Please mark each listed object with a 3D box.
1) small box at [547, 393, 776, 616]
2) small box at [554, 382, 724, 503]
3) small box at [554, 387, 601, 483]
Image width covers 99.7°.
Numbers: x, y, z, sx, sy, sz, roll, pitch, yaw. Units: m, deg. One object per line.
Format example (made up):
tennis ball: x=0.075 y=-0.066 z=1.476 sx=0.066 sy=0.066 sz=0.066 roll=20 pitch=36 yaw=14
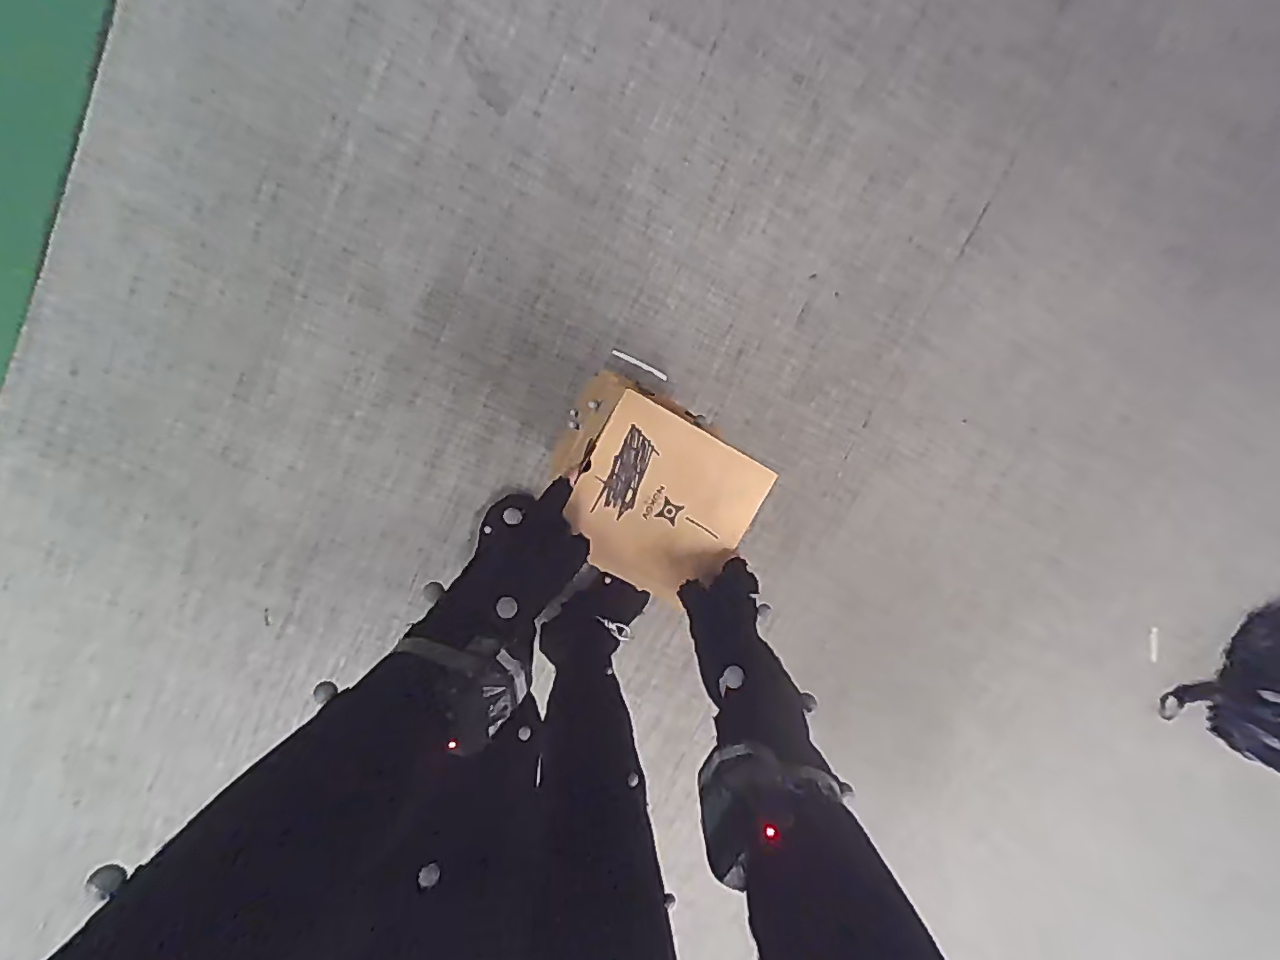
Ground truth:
small box: x=0.013 y=0.017 z=0.604 sx=0.179 sy=0.176 sz=0.168 roll=29 pitch=95 yaw=-12
small box: x=-0.011 y=-0.027 z=0.765 sx=0.168 sy=0.176 sz=0.179 roll=26 pitch=99 yaw=-11
small box: x=-0.033 y=-0.050 z=0.925 sx=0.179 sy=0.176 sz=0.168 roll=26 pitch=97 yaw=-13
